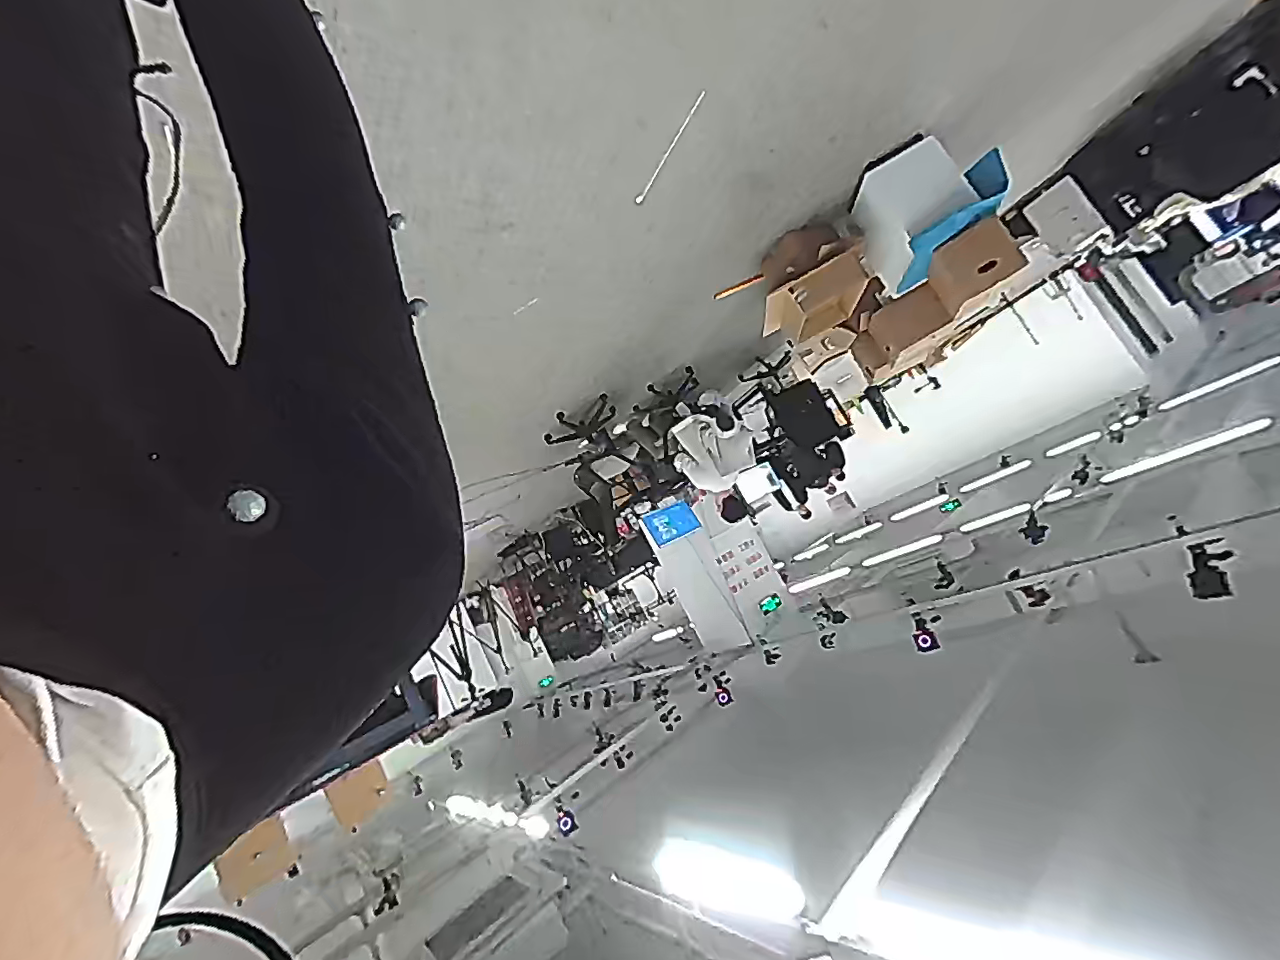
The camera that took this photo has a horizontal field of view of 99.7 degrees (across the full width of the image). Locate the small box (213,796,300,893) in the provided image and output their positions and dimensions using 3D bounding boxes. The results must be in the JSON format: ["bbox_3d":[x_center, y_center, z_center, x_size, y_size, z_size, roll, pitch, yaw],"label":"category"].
[{"bbox_3d":[-1.153,1.083,1.621,0.179,0.176,0.168,-21,170,-41],"label":"small box"}]
